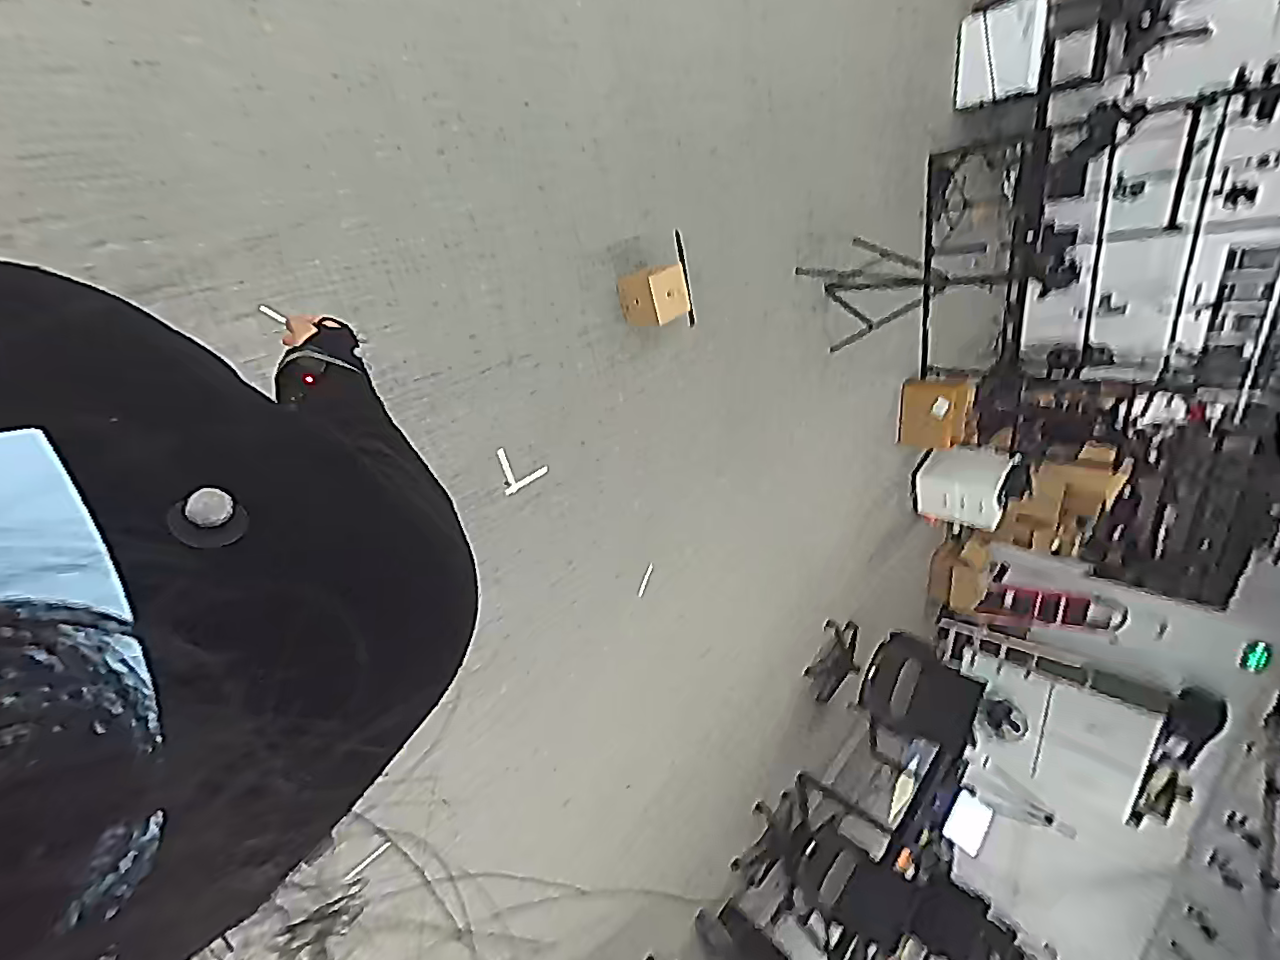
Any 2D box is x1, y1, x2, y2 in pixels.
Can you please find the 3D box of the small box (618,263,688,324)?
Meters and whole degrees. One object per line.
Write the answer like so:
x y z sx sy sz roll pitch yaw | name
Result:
0.040 -0.662 1.927 0.179 0.176 0.168 -37 125 -33 | small box
